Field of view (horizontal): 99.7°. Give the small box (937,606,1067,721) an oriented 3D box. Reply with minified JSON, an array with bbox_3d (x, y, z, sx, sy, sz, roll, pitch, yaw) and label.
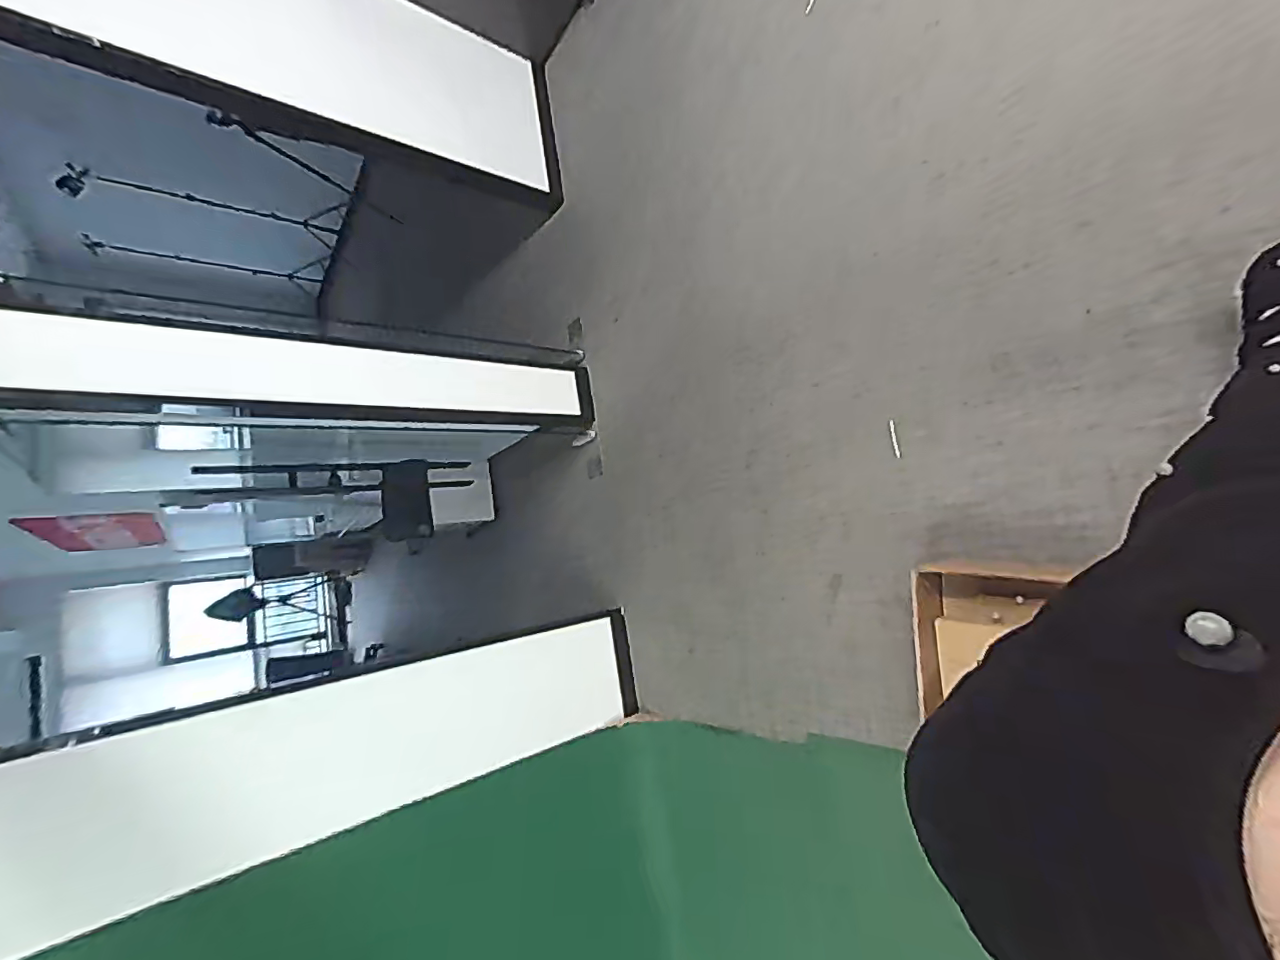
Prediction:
[{"bbox_3d":[0.728,0.355,1.082,0.179,0.176,0.168,-8,86,51],"label":"small box"}]
